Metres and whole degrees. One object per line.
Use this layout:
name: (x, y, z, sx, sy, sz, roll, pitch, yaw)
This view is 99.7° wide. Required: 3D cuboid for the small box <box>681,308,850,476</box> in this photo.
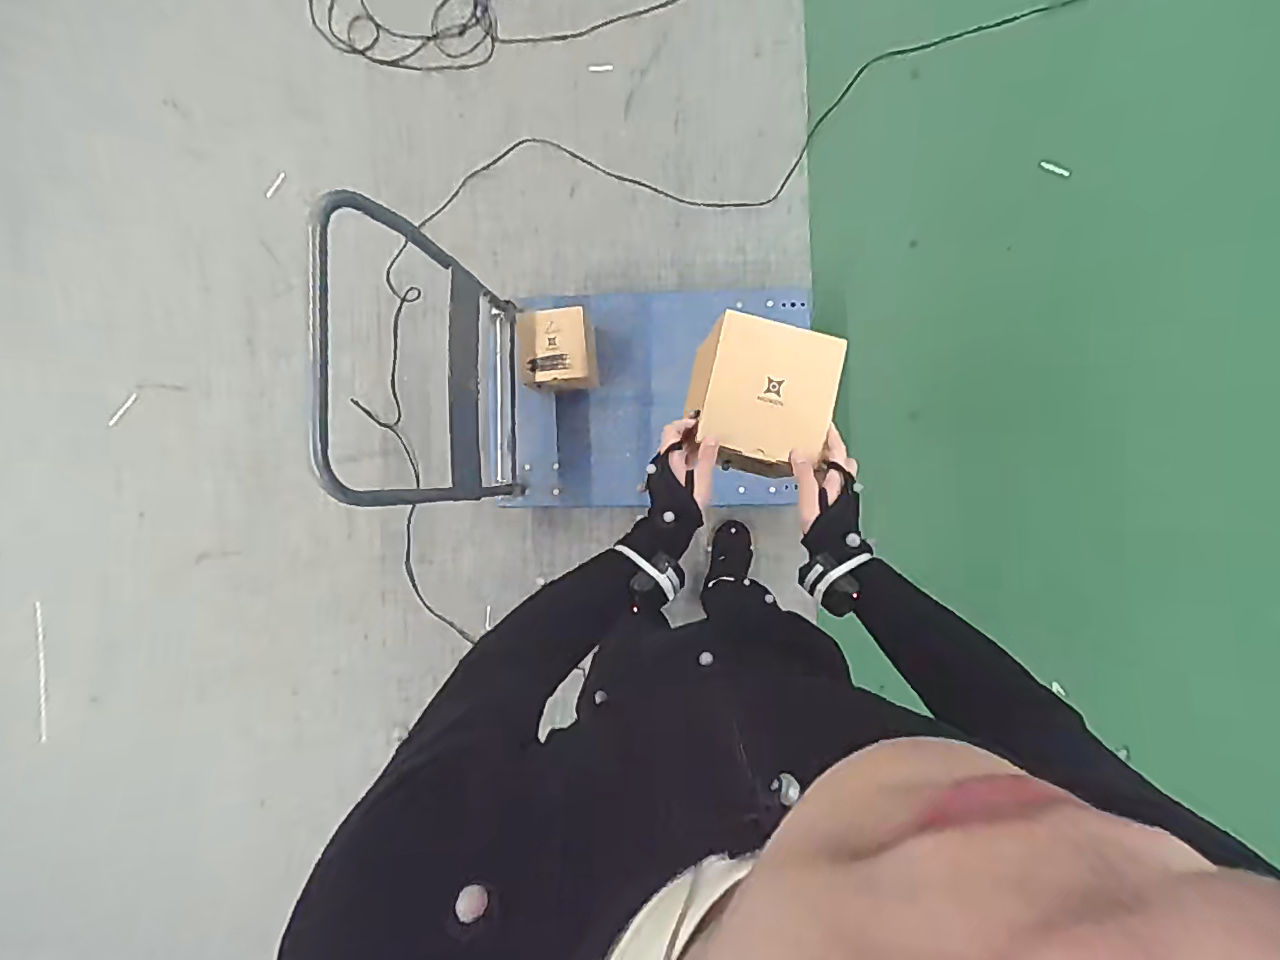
small box: (0.161, -0.109, 0.751, 0.168, 0.176, 0.179, 13, 87, -5)
